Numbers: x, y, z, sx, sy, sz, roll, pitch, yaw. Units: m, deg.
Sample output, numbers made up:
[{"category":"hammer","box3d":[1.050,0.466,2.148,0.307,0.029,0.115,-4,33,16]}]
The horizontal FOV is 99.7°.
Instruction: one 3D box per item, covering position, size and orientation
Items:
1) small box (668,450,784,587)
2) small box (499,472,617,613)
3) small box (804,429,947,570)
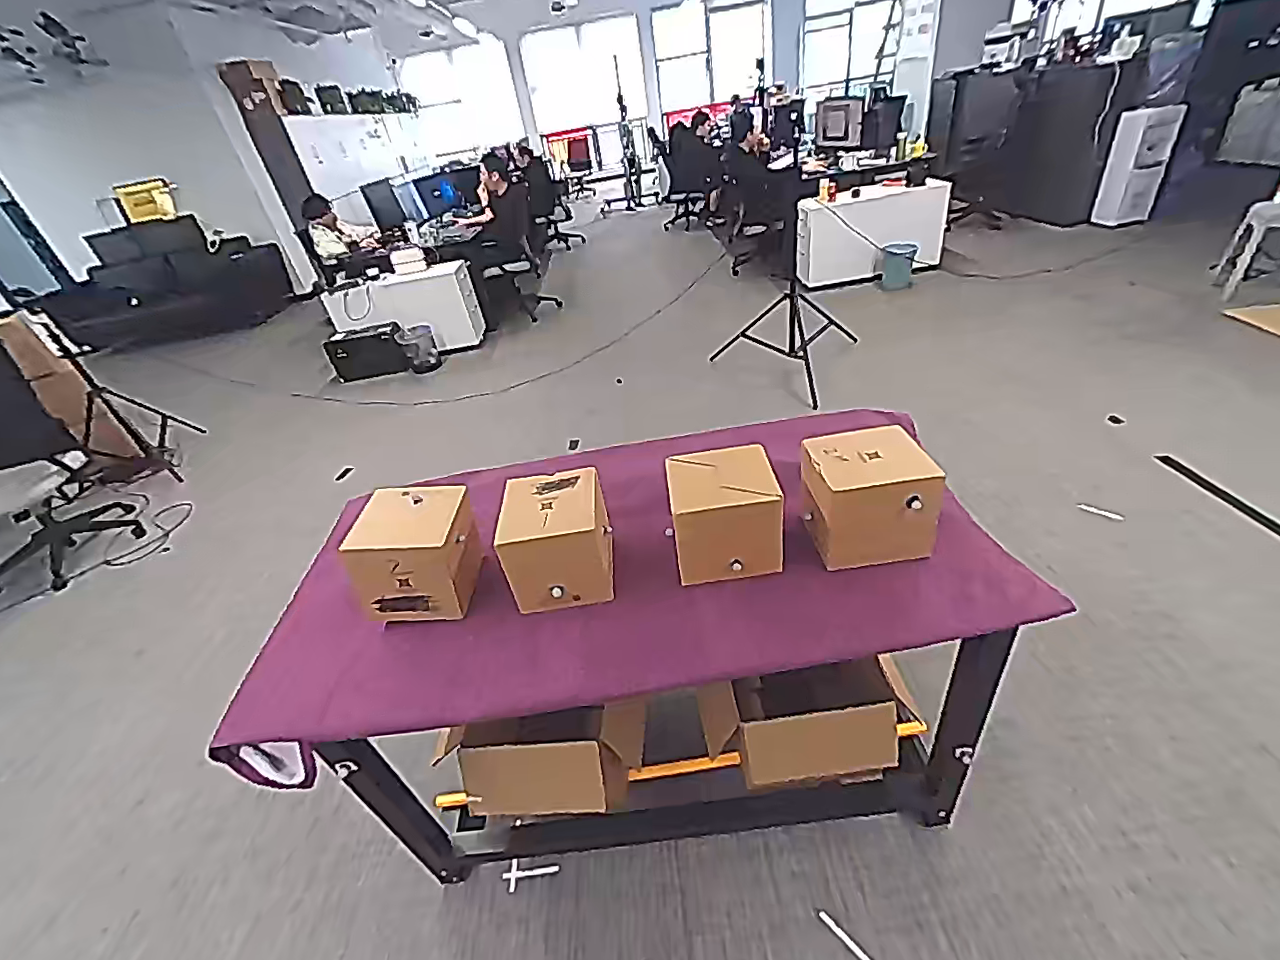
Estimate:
[{"category":"small box","box3d":[0.148,0.063,0.954,0.179,0.176,0.168,-9,33,4]},{"category":"small box","box3d":[-0.137,0.111,0.968,0.168,0.176,0.179,-9,35,2]},{"category":"small box","box3d":[0.391,0.034,0.932,0.179,0.176,0.168,-8,32,3]}]
